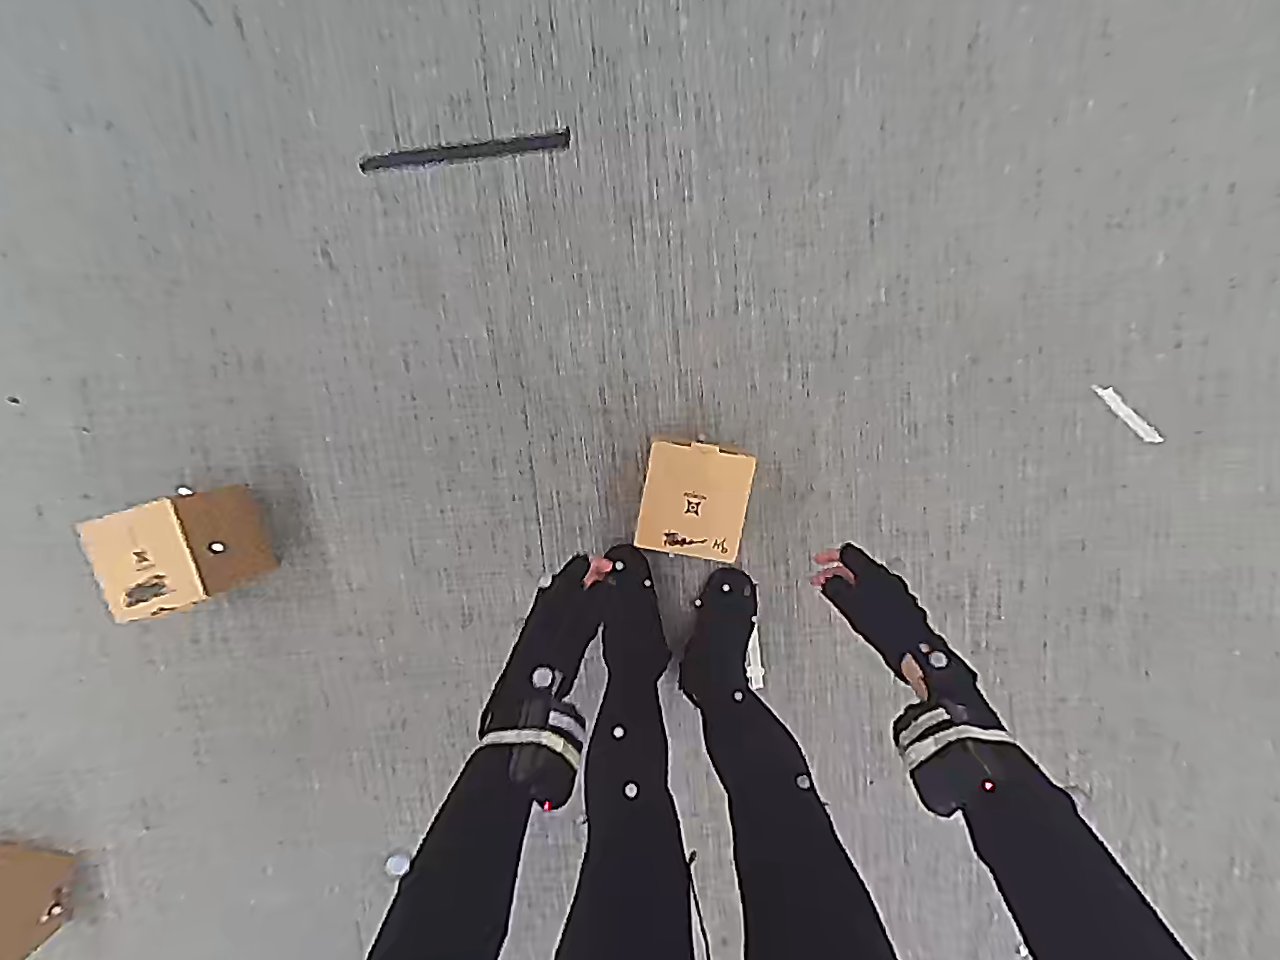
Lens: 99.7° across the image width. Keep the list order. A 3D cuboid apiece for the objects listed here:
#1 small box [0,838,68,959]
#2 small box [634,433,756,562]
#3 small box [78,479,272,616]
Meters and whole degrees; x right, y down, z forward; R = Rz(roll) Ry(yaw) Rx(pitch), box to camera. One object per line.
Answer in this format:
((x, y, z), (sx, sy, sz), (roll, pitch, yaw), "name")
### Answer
((-1.294, 0.841, 1.055), (0.179, 0.176, 0.168), (11, 99, -2), "small box")
((0.085, 0.020, 0.920), (0.168, 0.176, 0.179), (11, 98, 0), "small box")
((-0.795, 0.110, 0.947), (0.168, 0.176, 0.179), (-16, 97, 3), "small box")
